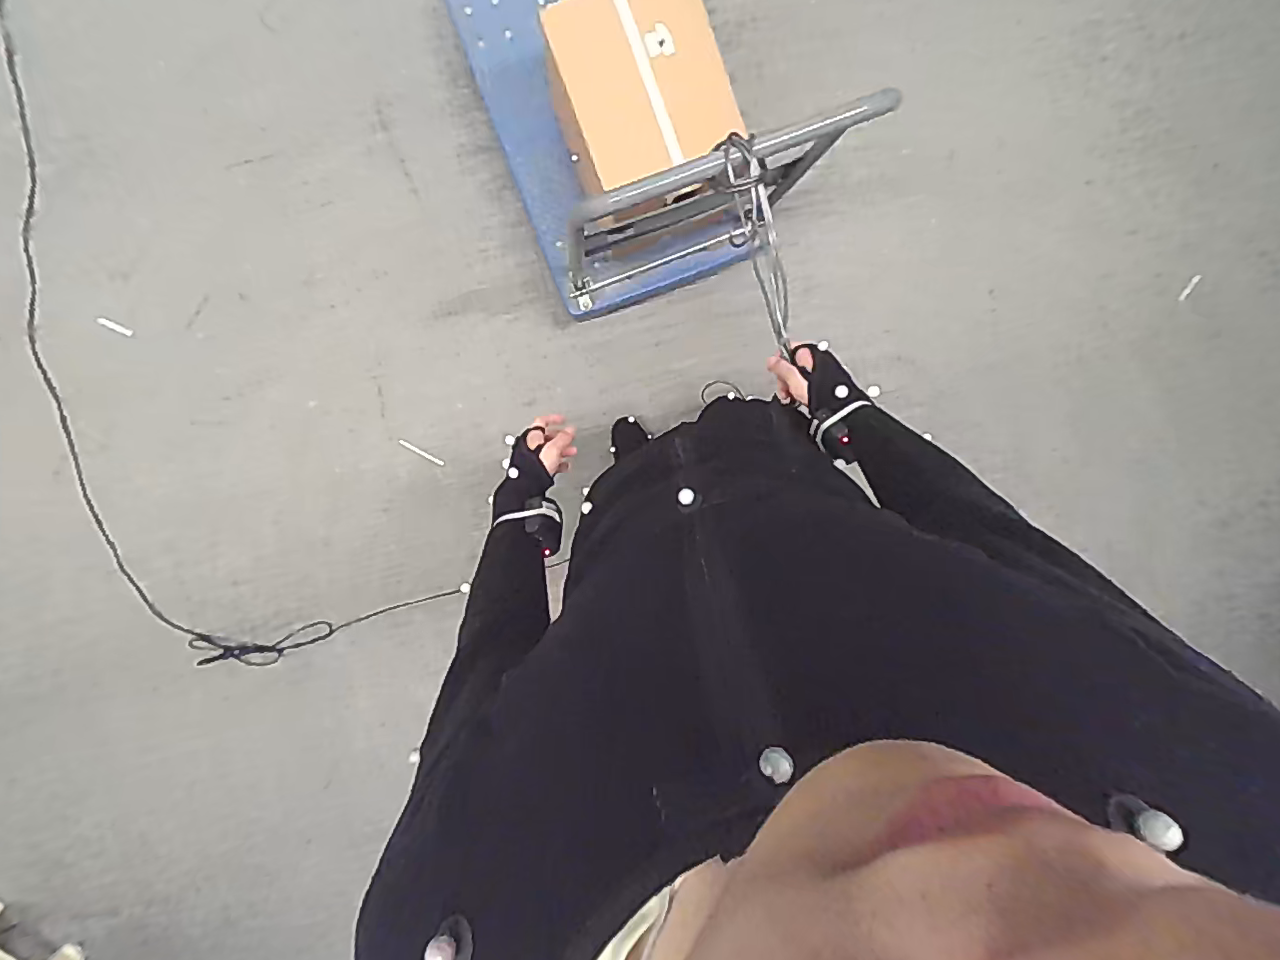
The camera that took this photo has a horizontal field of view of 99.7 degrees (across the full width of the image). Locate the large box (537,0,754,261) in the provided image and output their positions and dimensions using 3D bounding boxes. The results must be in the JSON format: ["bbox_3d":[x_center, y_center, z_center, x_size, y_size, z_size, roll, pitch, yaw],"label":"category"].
[{"bbox_3d":[0.008,-0.774,1.203,0.320,0.320,0.408,-22,96,-2],"label":"large box"}]
